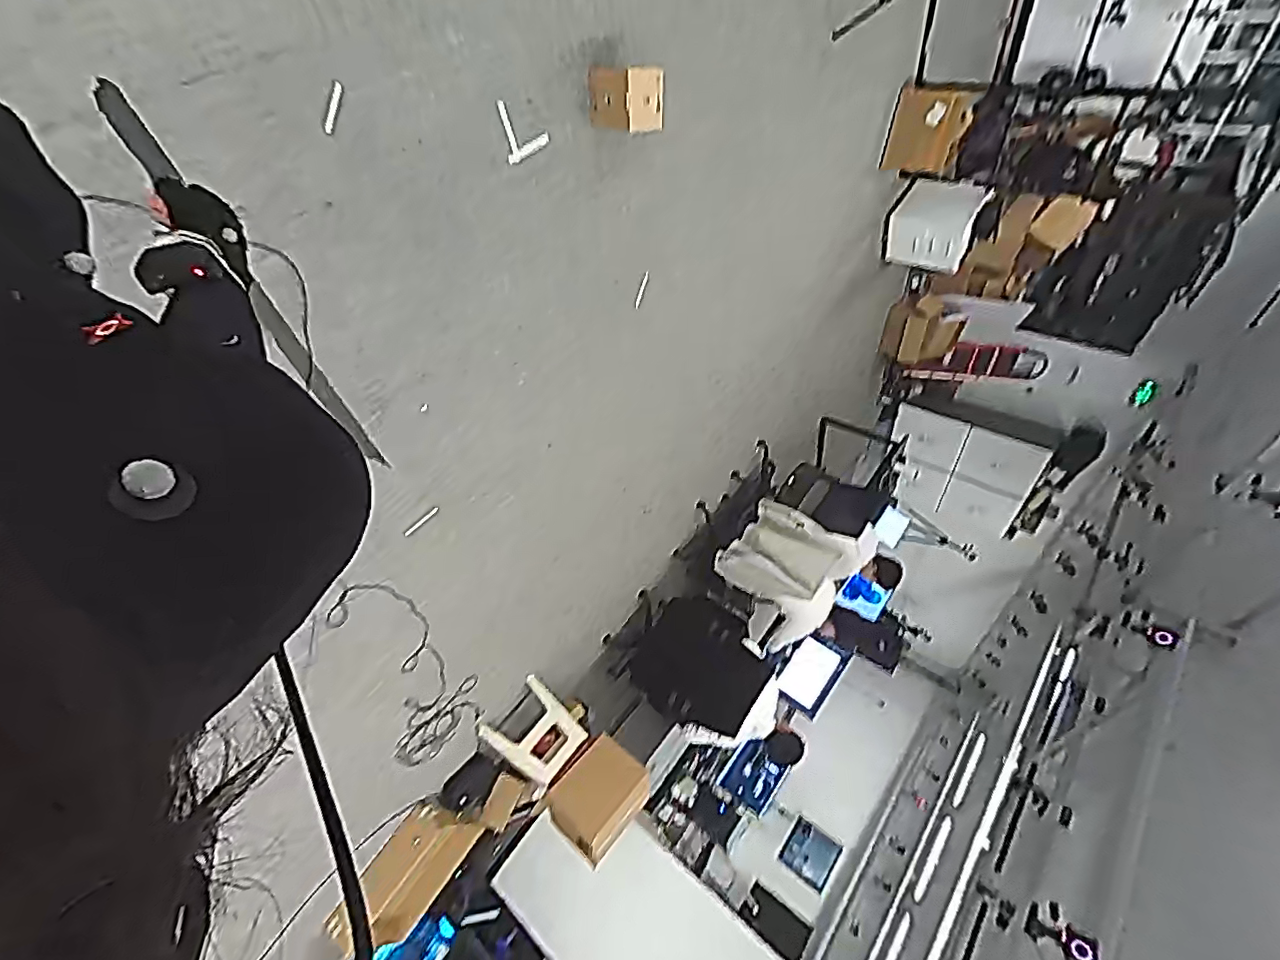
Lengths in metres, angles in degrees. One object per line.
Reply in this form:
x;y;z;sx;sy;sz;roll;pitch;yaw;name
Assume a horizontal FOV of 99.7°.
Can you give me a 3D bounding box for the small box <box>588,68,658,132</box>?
-0.059;-1.255;1.786;0.179;0.176;0.168;-35;140;-37;small box
